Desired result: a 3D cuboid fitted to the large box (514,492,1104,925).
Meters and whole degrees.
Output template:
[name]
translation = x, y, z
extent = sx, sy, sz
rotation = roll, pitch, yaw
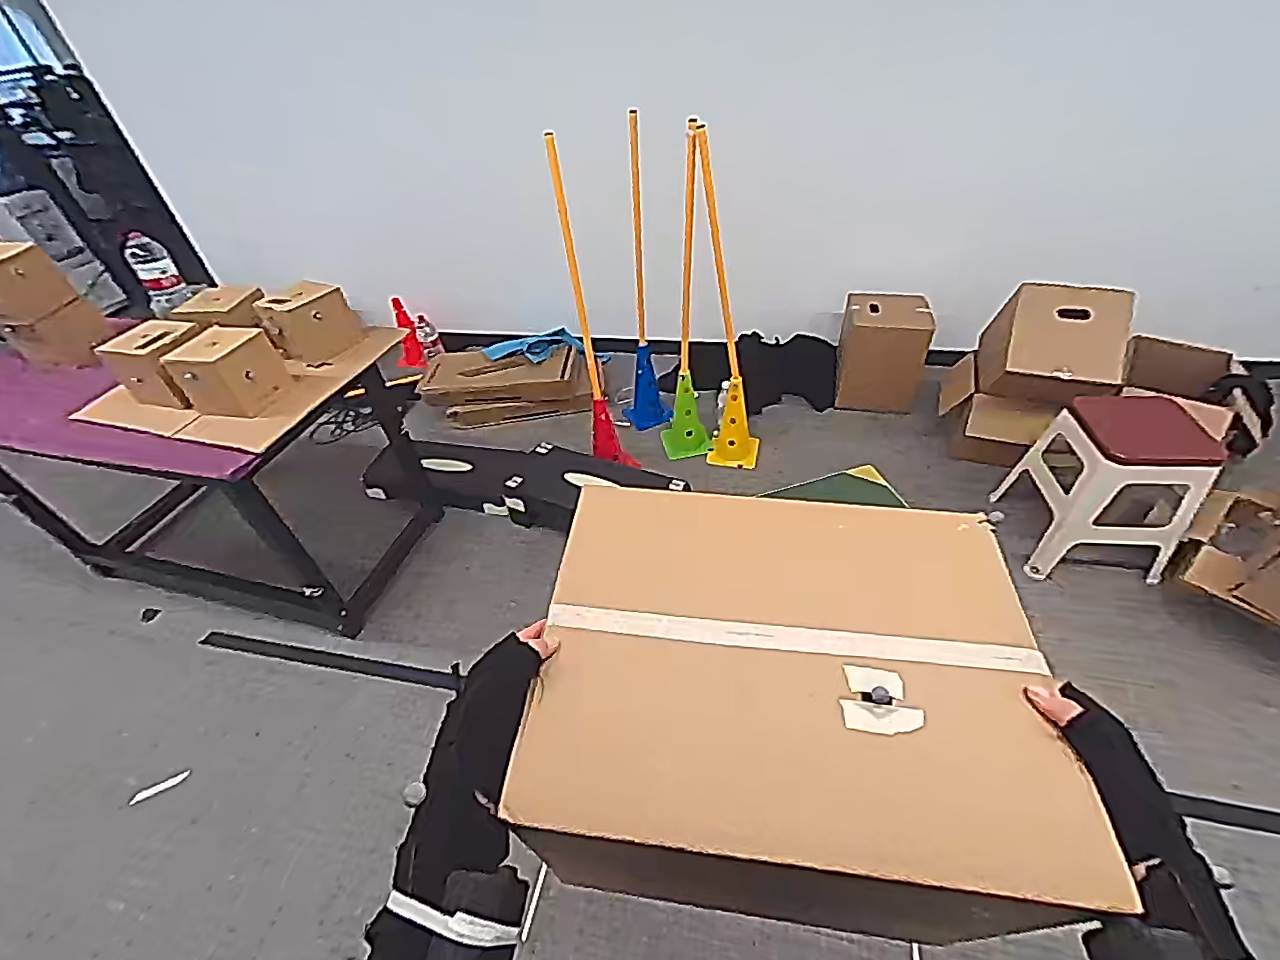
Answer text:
[large box]
translation = 0.124, 0.238, 0.574
extent = 0.408, 0.320, 0.320
rotation = 4, 48, 6
